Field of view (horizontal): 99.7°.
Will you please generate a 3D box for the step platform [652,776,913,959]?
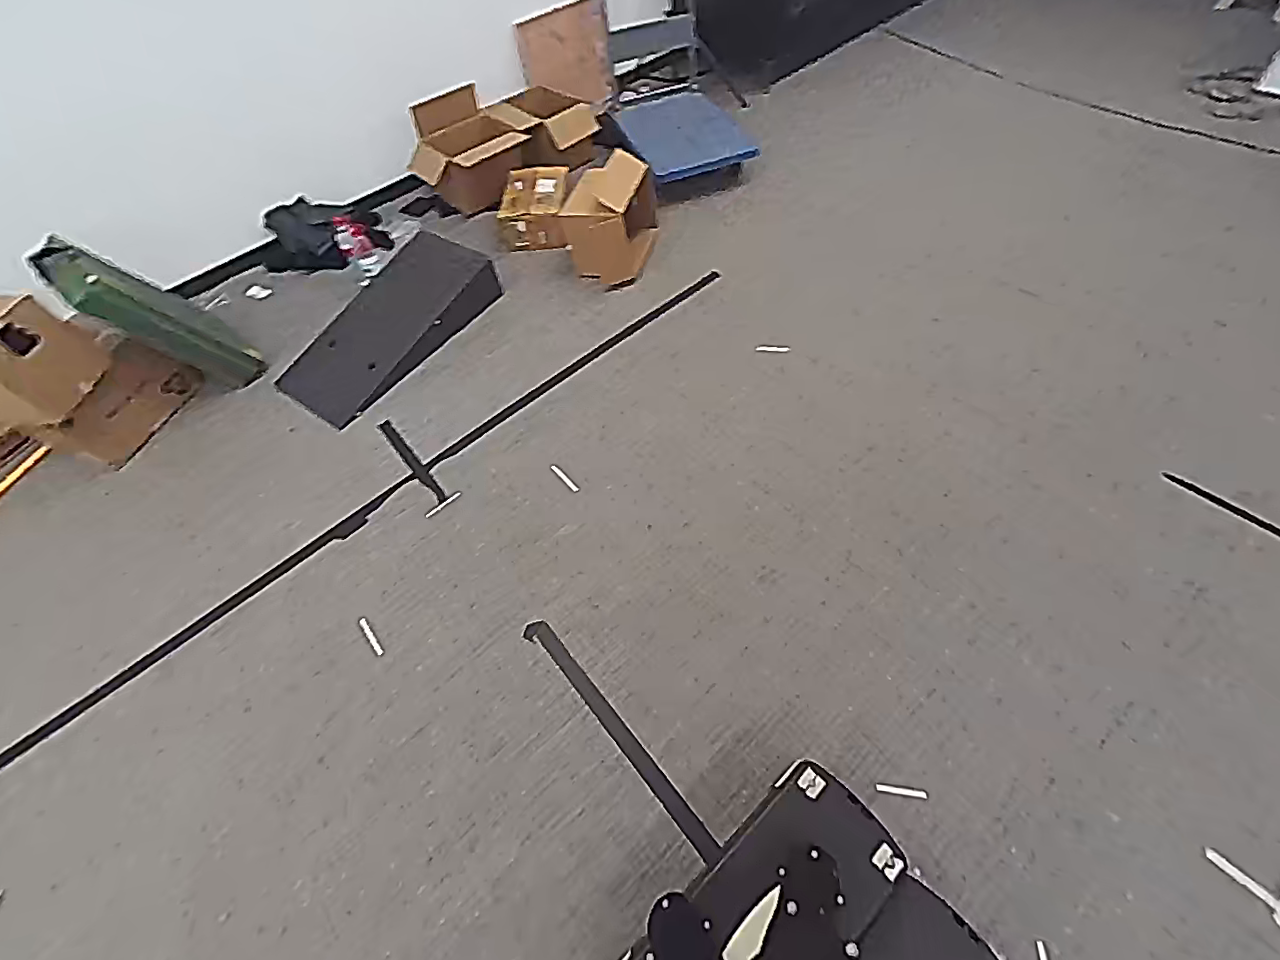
[{"bbox_3d":[0.257,0.979,1.136,0.684,0.204,0.286,-39,61,-20],"label":"step platform"}]
